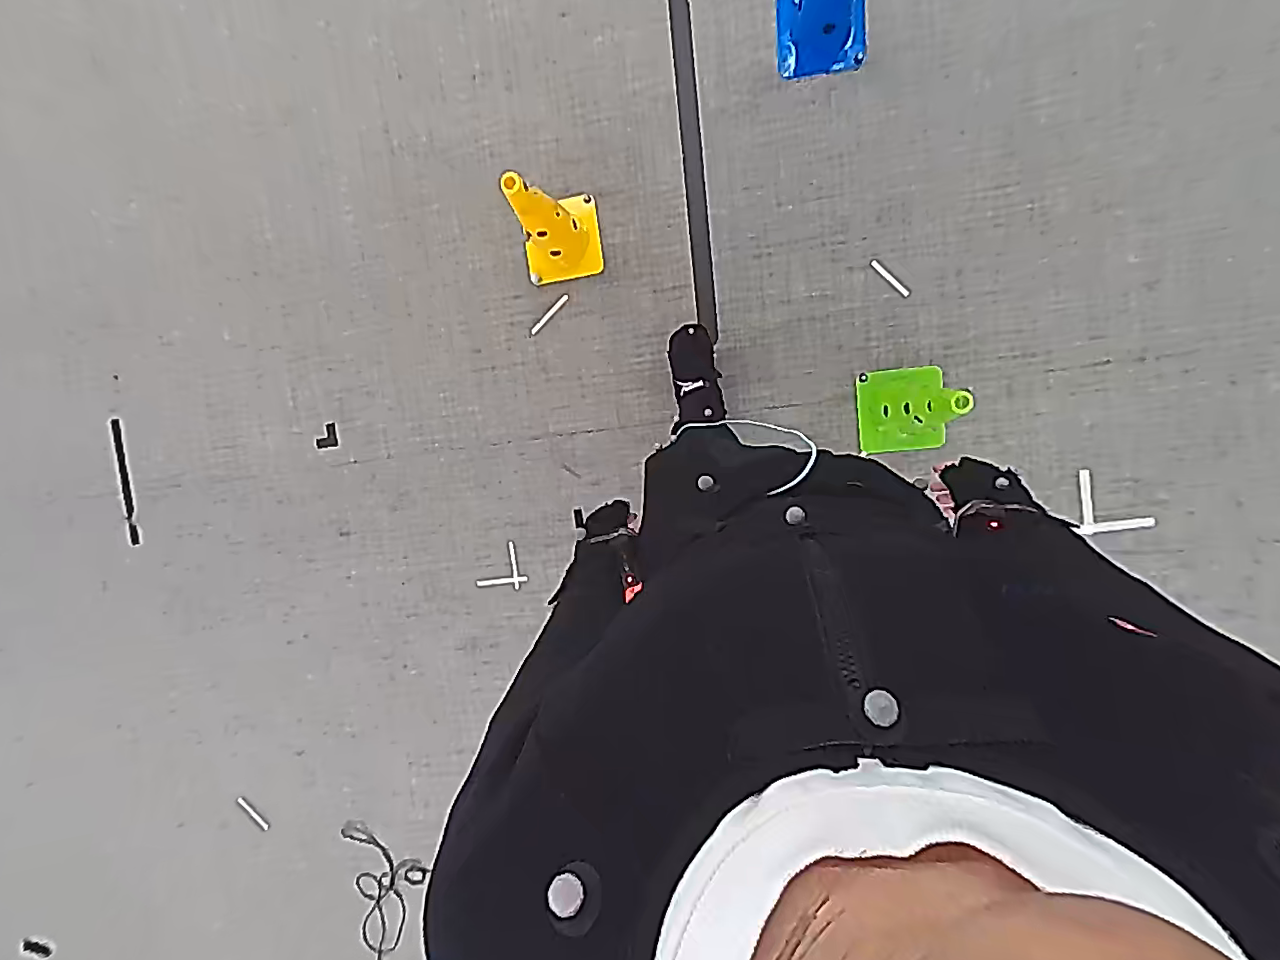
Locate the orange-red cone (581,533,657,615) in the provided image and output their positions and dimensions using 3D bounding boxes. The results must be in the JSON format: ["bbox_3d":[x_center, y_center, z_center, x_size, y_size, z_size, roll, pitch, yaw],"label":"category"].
[{"bbox_3d":[-0.081,0.253,1.301,0.199,0.360,0.198,-1,94,10],"label":"orange-red cone"}]

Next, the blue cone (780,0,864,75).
[{"bbox_3d":[0.407,-1.045,1.112,0.192,0.380,0.193,-2,96,8],"label":"blue cone"}]

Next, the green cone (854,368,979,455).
[{"bbox_3d":[0.611,-0.149,1.154,0.202,0.368,0.200,-5,95,8],"label":"green cone"}]
